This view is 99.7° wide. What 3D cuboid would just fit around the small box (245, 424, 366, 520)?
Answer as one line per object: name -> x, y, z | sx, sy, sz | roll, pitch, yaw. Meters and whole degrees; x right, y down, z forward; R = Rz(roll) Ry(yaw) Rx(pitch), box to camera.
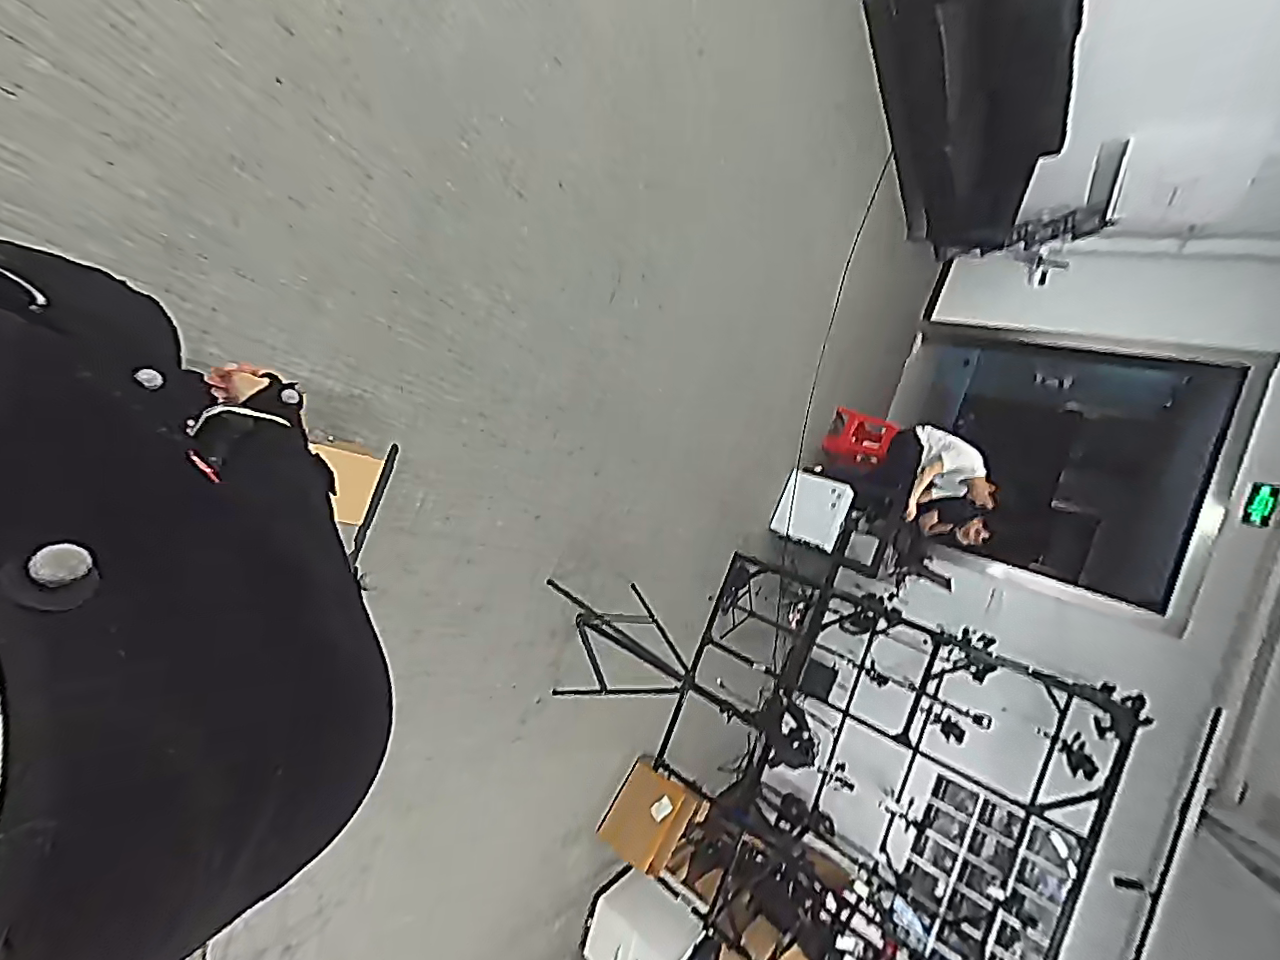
small box -> -0.776, -0.014, 1.269 | 0.179, 0.176, 0.168 | 22, 88, -56
